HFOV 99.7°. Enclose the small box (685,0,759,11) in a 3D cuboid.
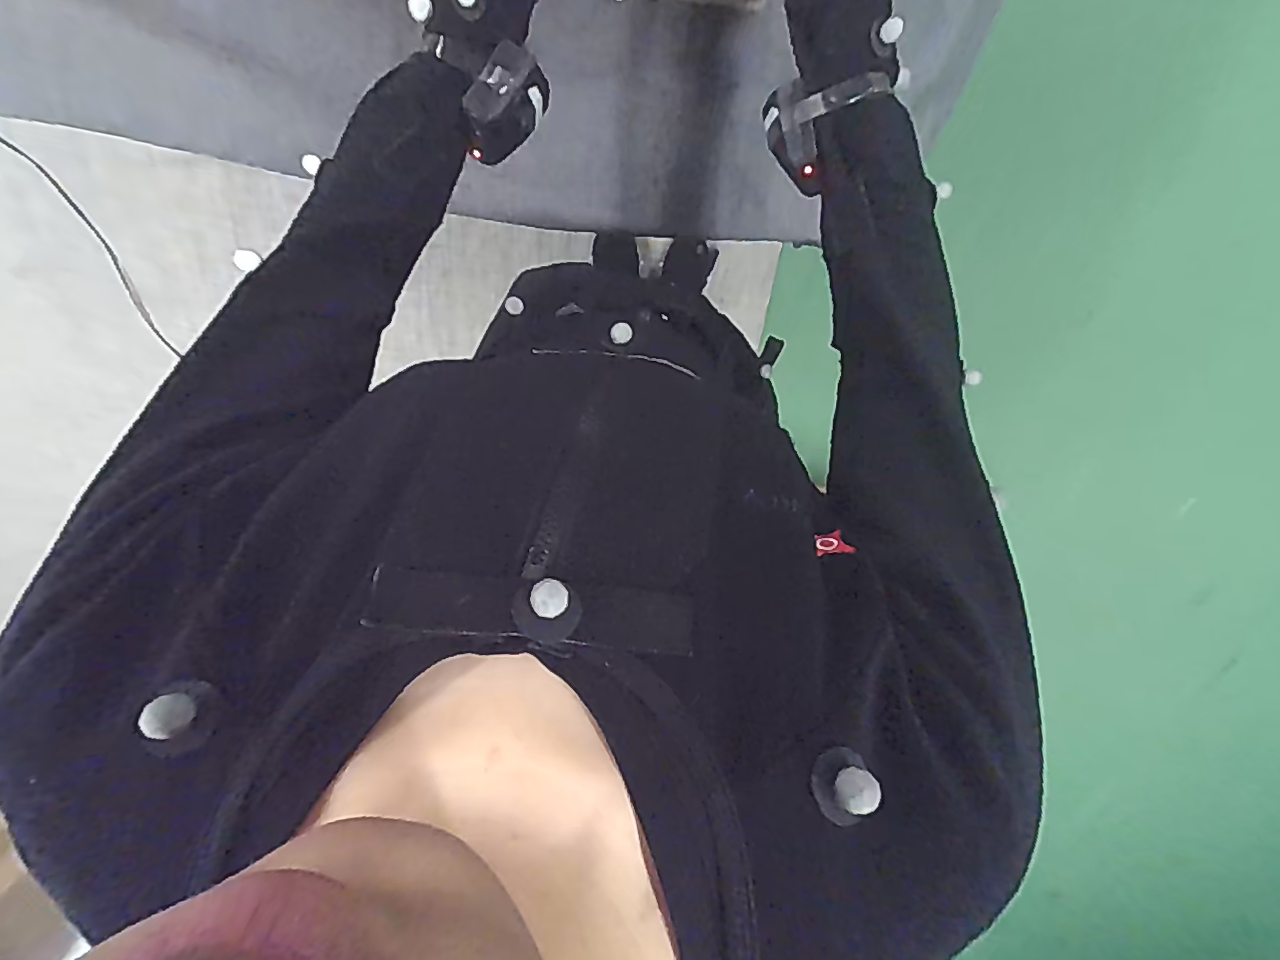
[{"bbox_3d":[0.036,-0.493,0.407,0.168,0.176,0.179,8,116,1],"label":"small box"}]
